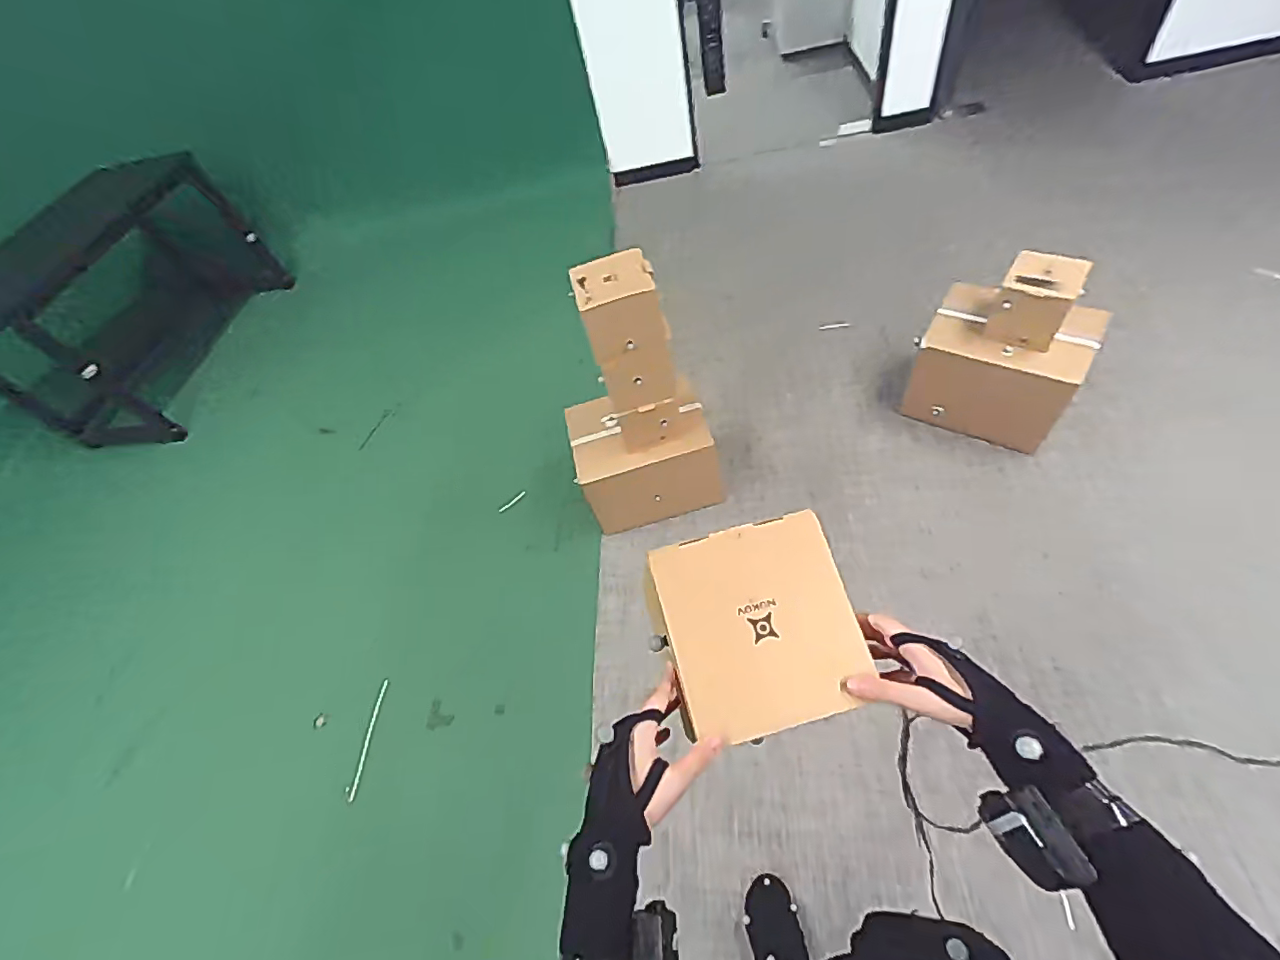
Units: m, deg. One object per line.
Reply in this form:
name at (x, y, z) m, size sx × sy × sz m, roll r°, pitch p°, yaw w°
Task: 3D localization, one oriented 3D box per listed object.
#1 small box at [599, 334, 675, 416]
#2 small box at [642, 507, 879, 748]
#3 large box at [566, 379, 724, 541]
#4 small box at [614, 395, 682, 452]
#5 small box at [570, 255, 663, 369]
small box at (-0.015, -0.296, 1.398) m, size 0.179 × 0.176 × 0.168 m, roll -18°, pitch 53°, yaw 1°
small box at (0.103, 0.149, 0.547) m, size 0.168 × 0.176 × 0.179 m, roll -14°, pitch 69°, yaw -5°
large box at (0.021, -0.056, 1.729) m, size 0.408 × 0.320 × 0.320 m, roll -18°, pitch 51°, yaw 3°
small box at (0.015, -0.199, 1.526) m, size 0.168 × 0.176 × 0.179 m, roll -16°, pitch 53°, yaw 2°
small box at (-0.050, -0.391, 1.268) m, size 0.179 × 0.176 × 0.168 m, roll -16°, pitch 53°, yaw 1°
